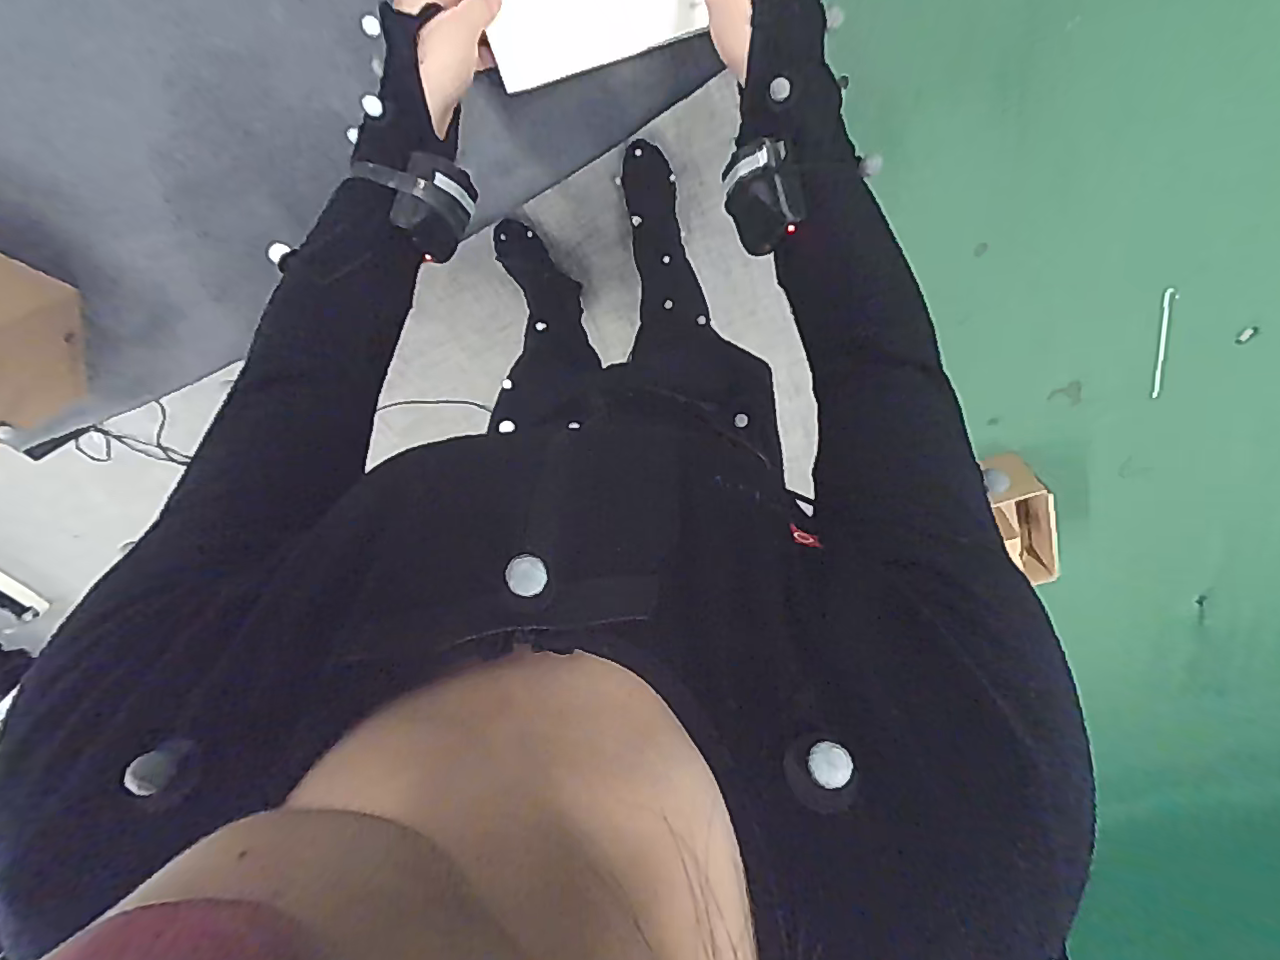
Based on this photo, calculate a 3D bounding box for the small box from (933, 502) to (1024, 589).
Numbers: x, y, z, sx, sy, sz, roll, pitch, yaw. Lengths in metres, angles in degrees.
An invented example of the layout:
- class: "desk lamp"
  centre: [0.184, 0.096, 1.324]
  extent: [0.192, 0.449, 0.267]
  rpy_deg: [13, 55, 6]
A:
- class: "small box"
  centre: [1.004, 0.190, 1.607]
  extent: [0.179, 0.176, 0.168]
  rpy_deg: [-20, 126, 19]
